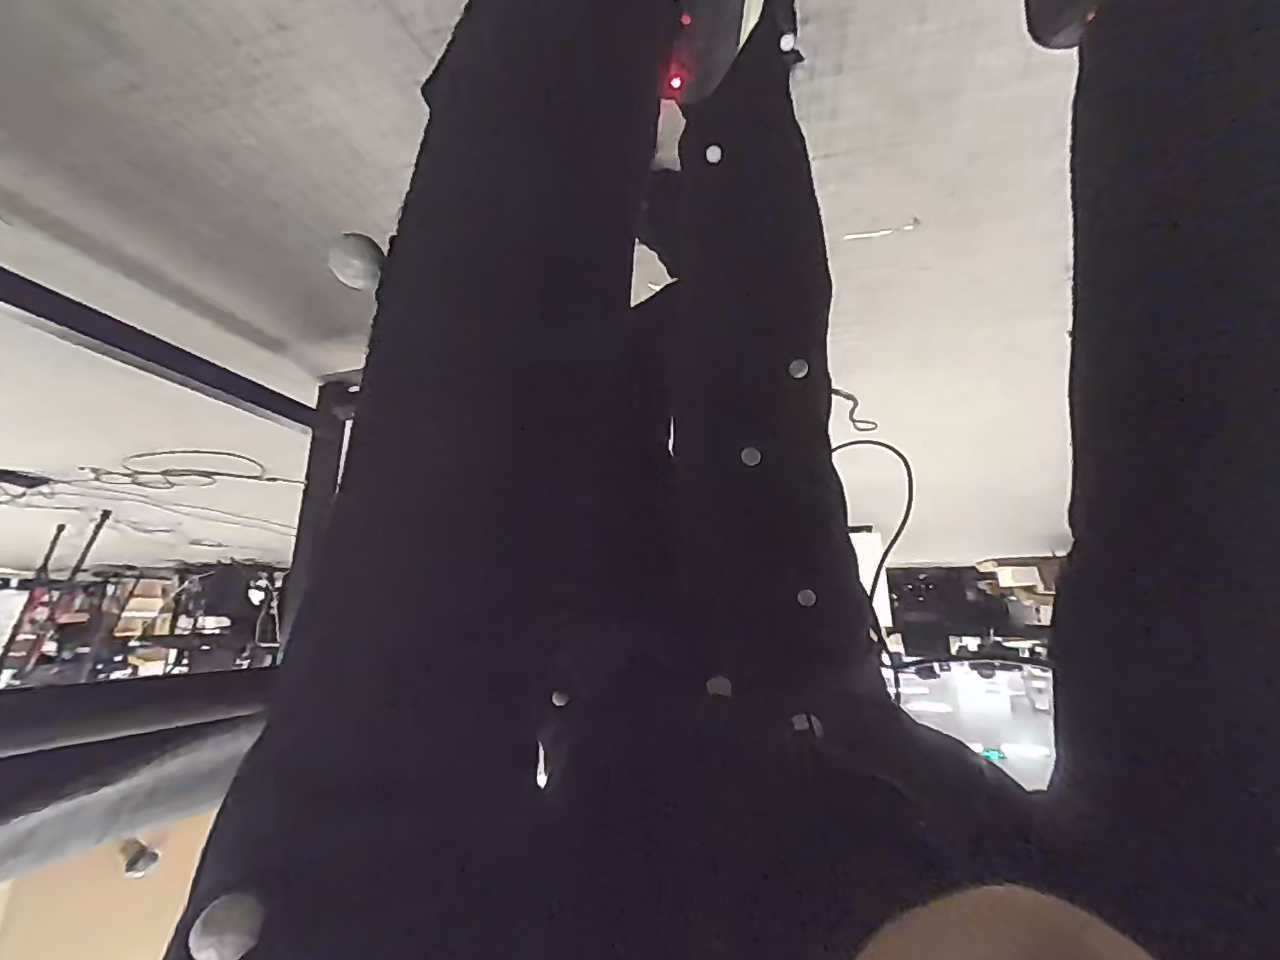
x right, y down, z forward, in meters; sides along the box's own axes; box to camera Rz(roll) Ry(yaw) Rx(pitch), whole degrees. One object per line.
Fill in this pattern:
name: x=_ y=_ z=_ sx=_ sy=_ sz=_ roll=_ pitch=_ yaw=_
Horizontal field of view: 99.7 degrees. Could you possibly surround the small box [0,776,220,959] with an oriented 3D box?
small box: x=-0.523 y=0.377 z=0.483 sx=0.179 sy=0.176 sz=0.168 roll=-5 pitch=164 yaw=16
